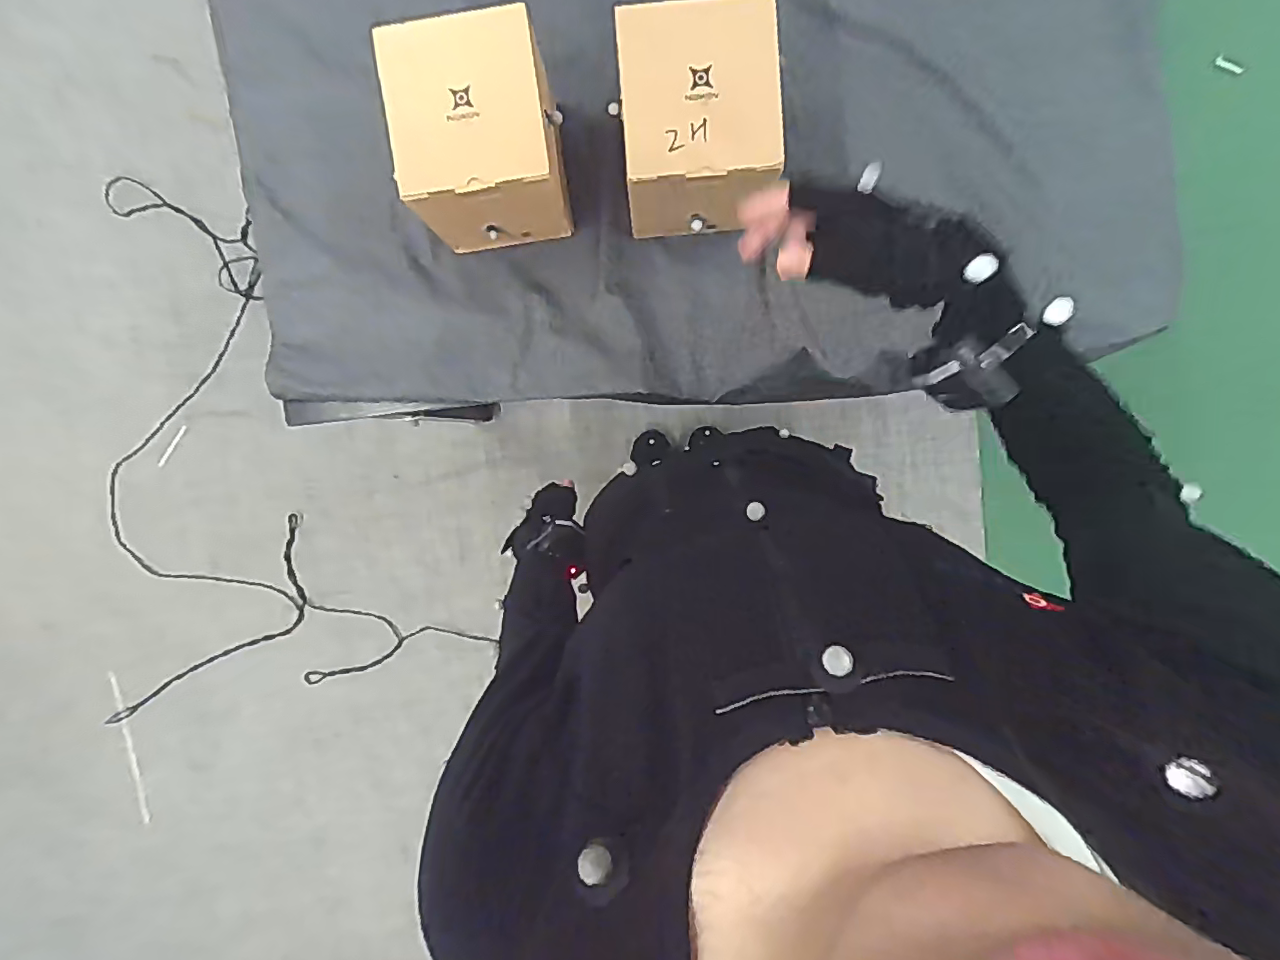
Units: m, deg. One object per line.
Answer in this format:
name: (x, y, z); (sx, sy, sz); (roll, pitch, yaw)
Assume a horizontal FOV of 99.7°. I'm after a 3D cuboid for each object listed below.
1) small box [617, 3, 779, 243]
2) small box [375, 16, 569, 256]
small box: (0.061, -0.404, 0.641); (0.168, 0.176, 0.179); (-4, 94, 2)
small box: (-0.187, -0.394, 0.650); (0.168, 0.176, 0.179); (-8, 95, 2)
